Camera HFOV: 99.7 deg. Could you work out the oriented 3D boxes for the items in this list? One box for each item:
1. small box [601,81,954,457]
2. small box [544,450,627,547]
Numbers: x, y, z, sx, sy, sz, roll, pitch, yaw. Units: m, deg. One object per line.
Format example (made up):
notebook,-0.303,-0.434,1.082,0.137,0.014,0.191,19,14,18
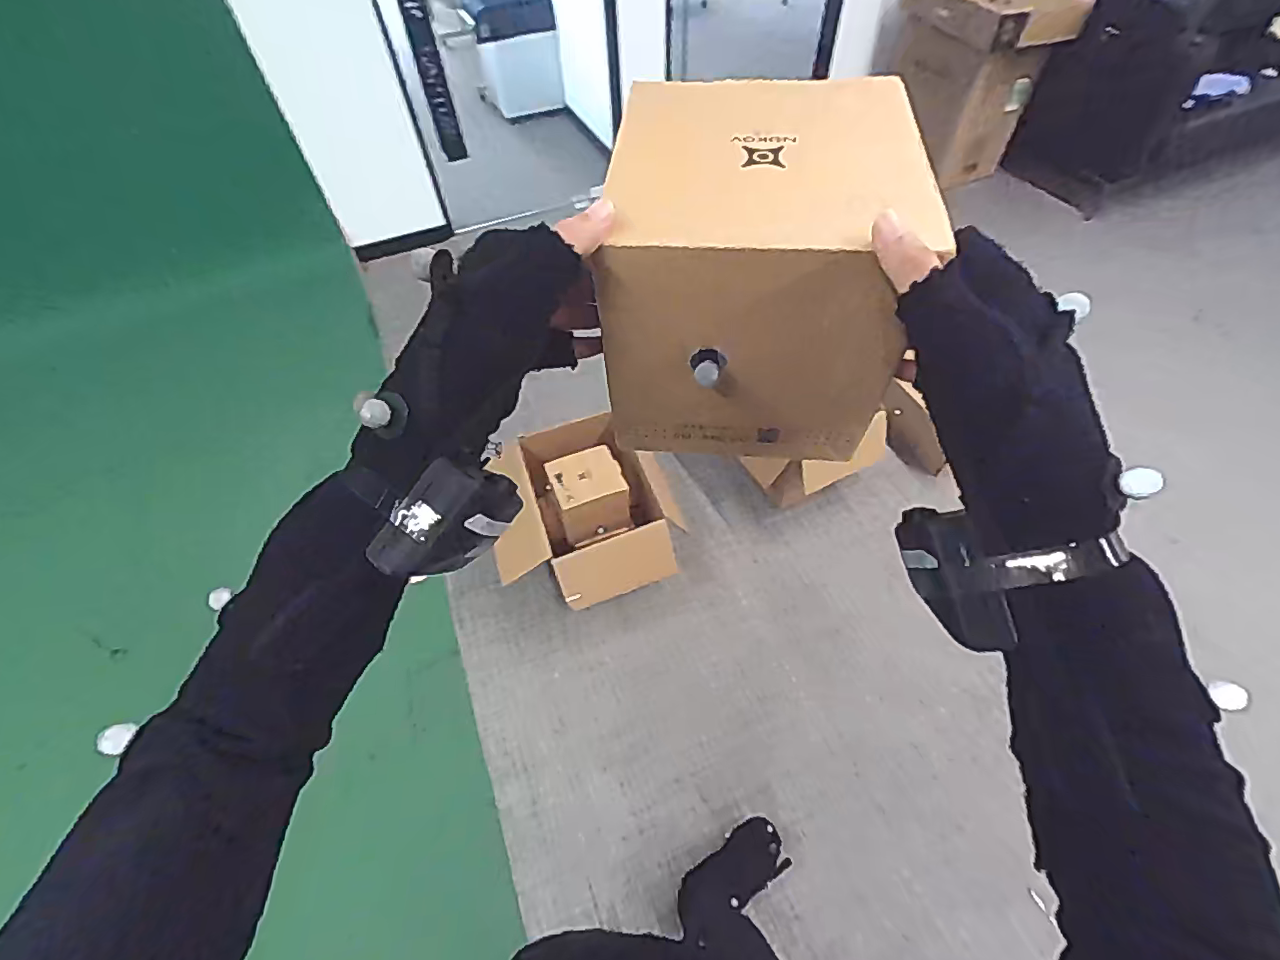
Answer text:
small box,0.076,-0.132,0.362,0.168,0.176,0.179,4,57,6
small box,-0.145,0.052,1.440,0.179,0.176,0.168,-17,52,-15
